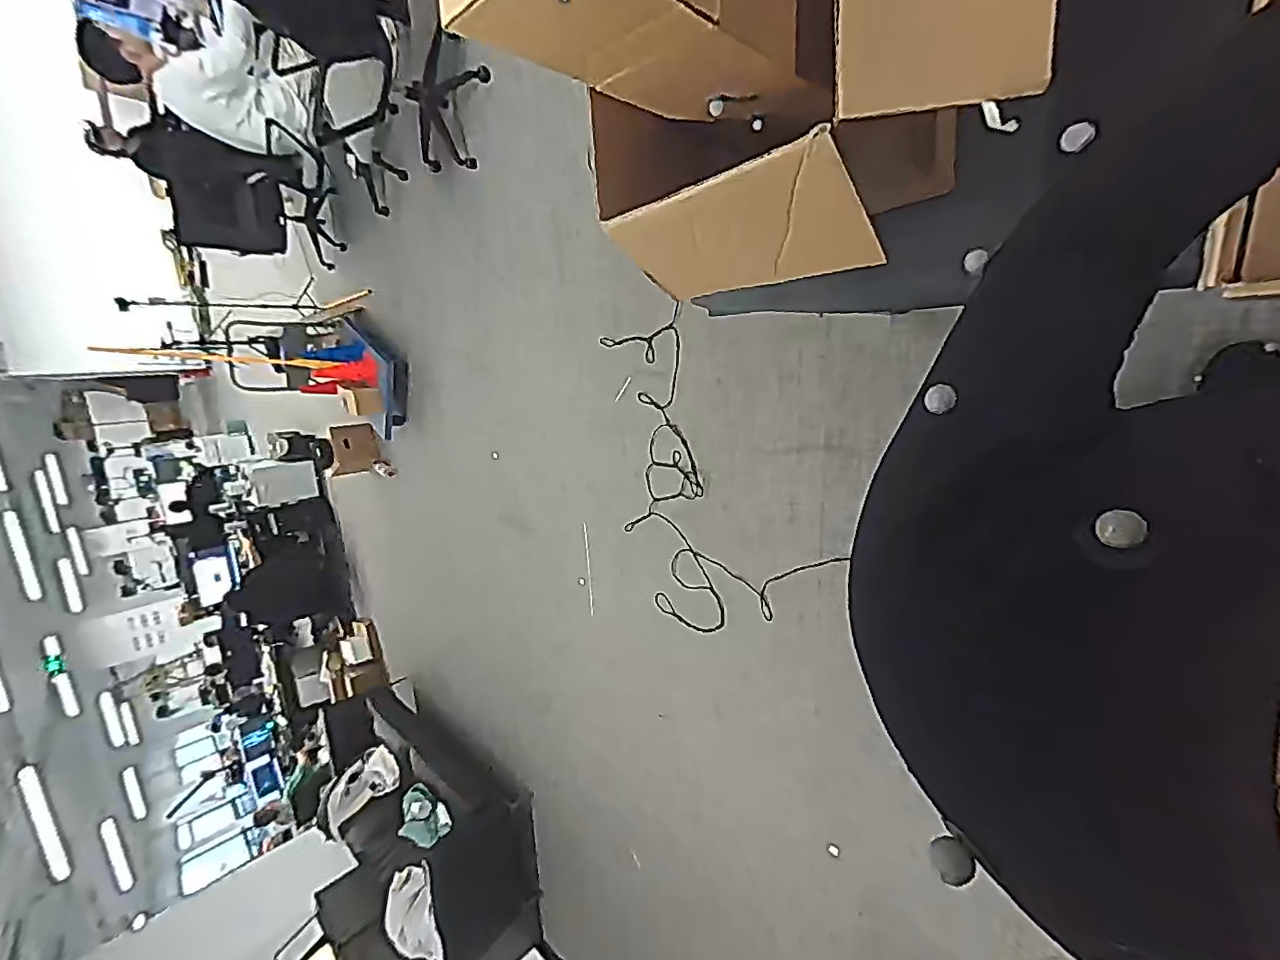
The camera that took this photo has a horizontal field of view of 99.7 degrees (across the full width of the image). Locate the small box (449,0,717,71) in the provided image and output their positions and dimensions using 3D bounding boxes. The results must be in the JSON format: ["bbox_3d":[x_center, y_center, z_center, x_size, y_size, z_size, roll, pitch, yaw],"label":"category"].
[{"bbox_3d":[-0.045,-0.475,0.442,0.179,0.176,0.168,14,112,43],"label":"small box"}]

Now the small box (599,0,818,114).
[{"bbox_3d":[0.070,-0.510,0.550,0.168,0.176,0.179,14,113,43],"label":"small box"}]
